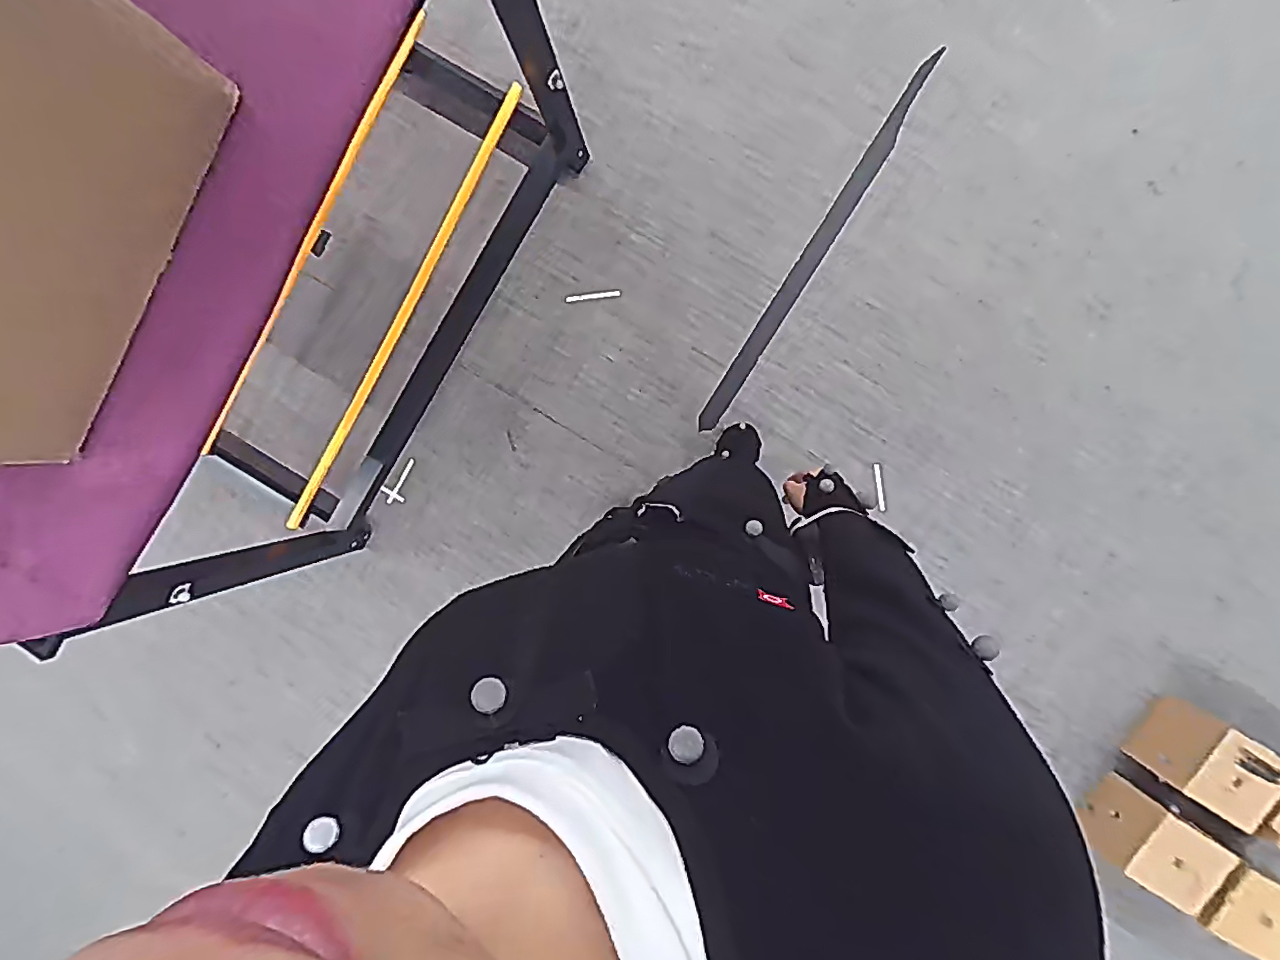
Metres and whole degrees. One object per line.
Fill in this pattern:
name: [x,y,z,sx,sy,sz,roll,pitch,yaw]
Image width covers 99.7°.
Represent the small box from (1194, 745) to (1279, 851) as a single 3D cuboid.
small box: [1.449,0.742,1.232,0.179,0.176,0.168,30,95,0]
